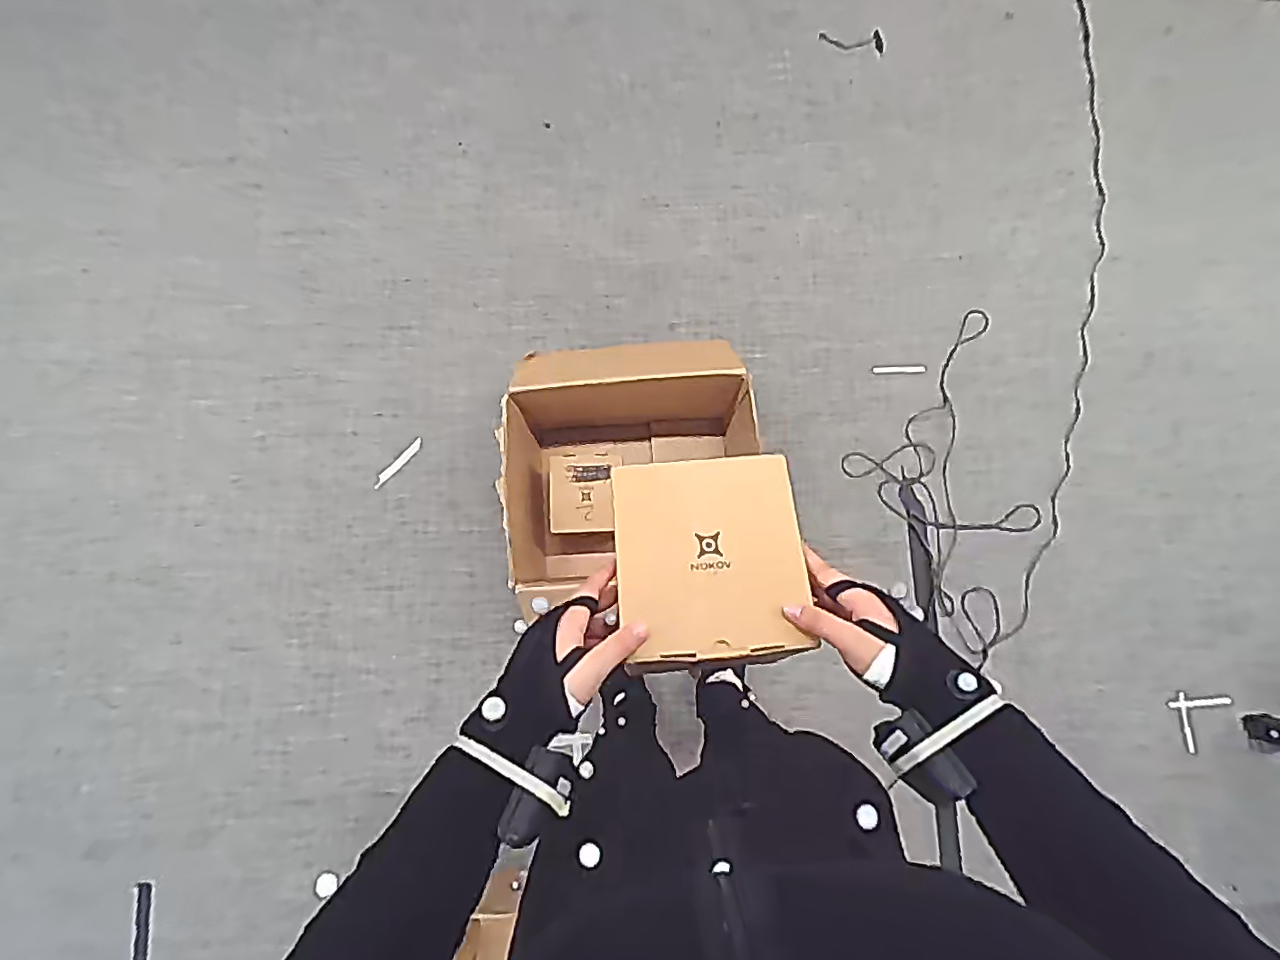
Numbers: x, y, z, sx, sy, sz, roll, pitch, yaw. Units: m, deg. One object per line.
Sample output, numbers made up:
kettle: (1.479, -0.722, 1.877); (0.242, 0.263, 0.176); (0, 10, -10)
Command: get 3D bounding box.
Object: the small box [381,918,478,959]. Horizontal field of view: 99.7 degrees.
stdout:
small box: (-0.434, 1.024, 1.089); (0.179, 0.176, 0.168); (2, 82, -2)
